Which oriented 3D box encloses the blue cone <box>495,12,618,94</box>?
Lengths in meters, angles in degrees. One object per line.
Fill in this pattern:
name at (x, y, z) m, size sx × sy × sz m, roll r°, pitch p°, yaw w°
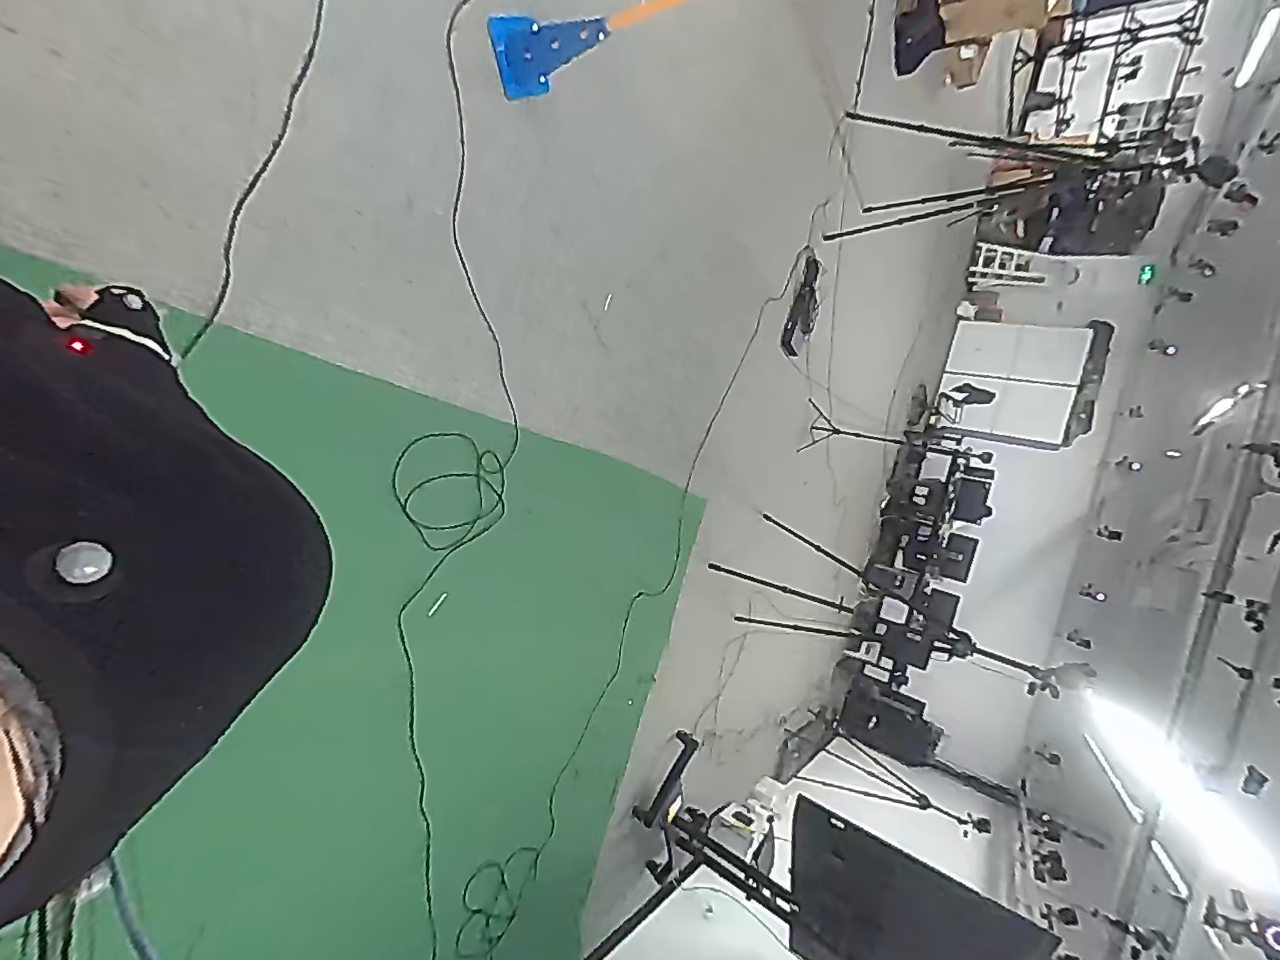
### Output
blue cone at (-0.223, -1.280, 1.568) m, size 0.193 × 0.380 × 0.192 m, roll -47°, pitch 136°, yaw -38°
